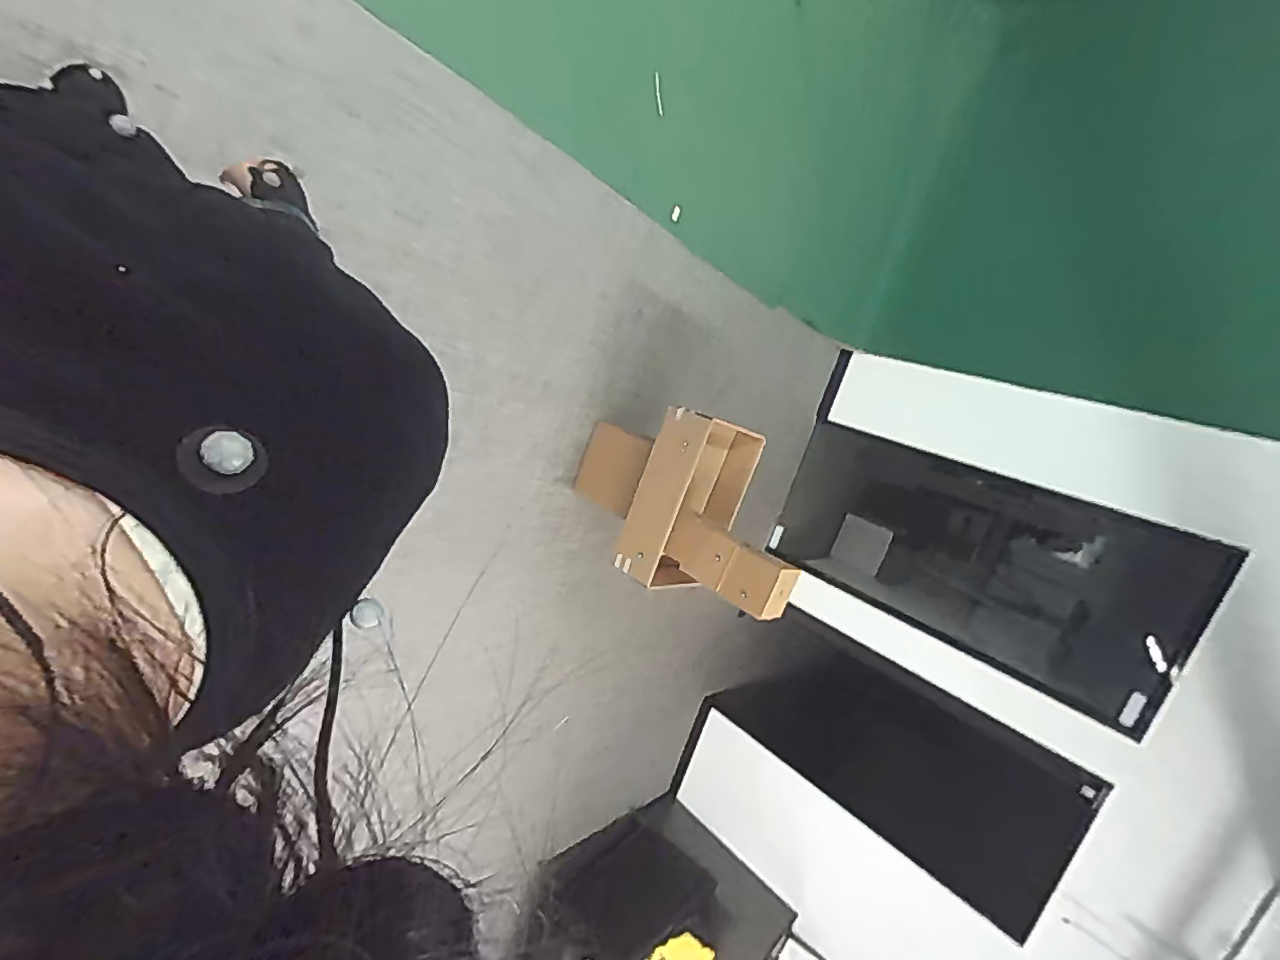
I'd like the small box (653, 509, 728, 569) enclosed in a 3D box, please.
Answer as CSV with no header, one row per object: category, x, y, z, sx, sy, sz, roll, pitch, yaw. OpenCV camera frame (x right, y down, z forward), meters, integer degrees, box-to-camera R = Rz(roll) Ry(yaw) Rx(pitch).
small box,0.177,0.215,1.934,0.179,0.176,0.168,18,97,-51

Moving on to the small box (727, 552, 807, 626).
small box,0.401,0.349,1.736,0.168,0.176,0.179,15,99,-51

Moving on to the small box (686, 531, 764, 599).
small box,0.284,0.285,1.831,0.168,0.176,0.179,16,99,-50
